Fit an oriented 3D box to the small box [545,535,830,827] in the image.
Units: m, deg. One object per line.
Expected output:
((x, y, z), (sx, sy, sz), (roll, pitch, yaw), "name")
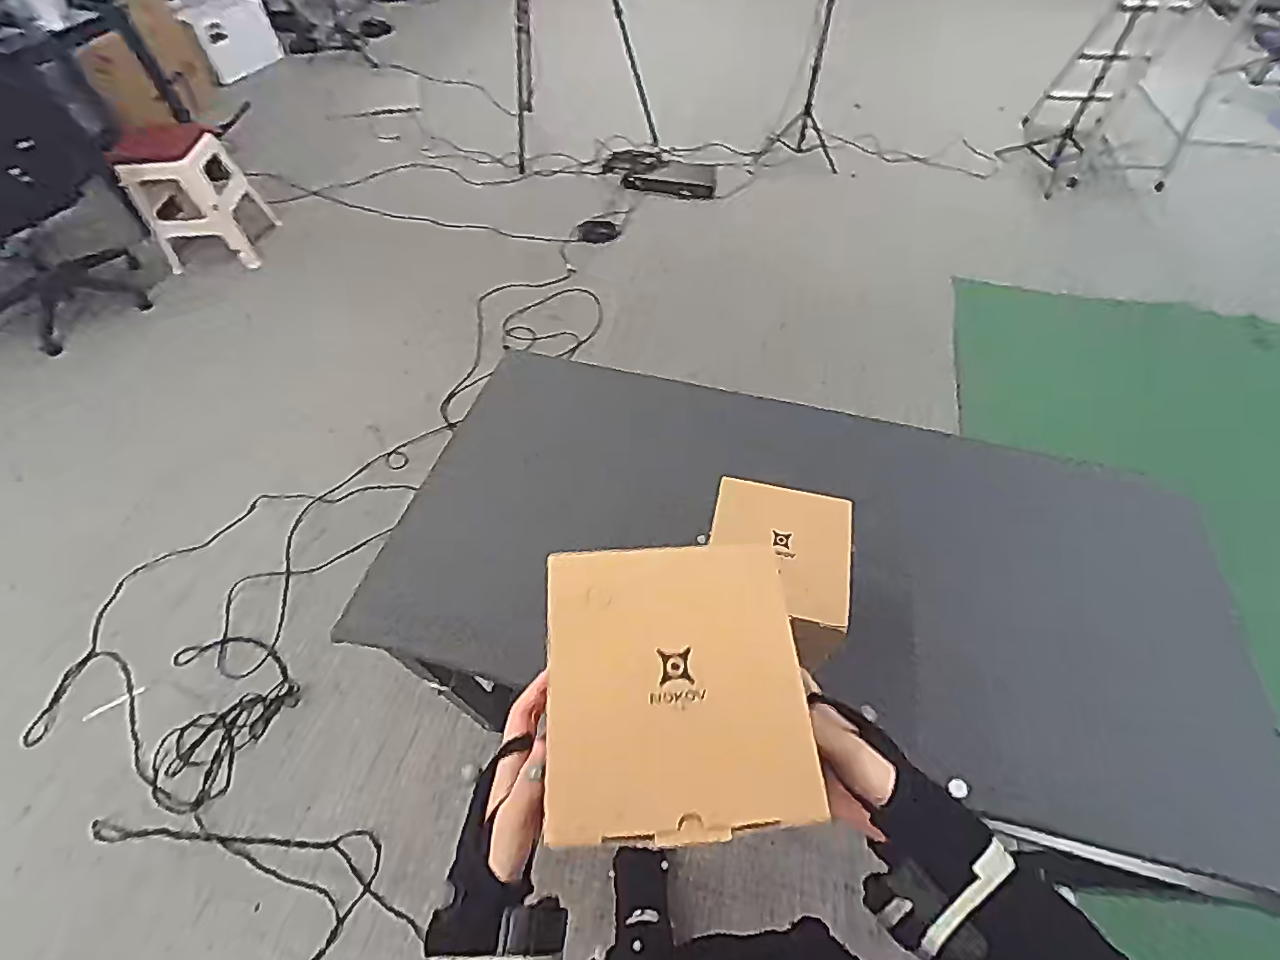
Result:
((0.018, 0.157, 0.414), (0.168, 0.176, 0.179), (-2, 60, -5), "small box")

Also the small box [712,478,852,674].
((0.167, 0.127, 0.703), (0.168, 0.176, 0.179), (11, 55, 9), "small box")
